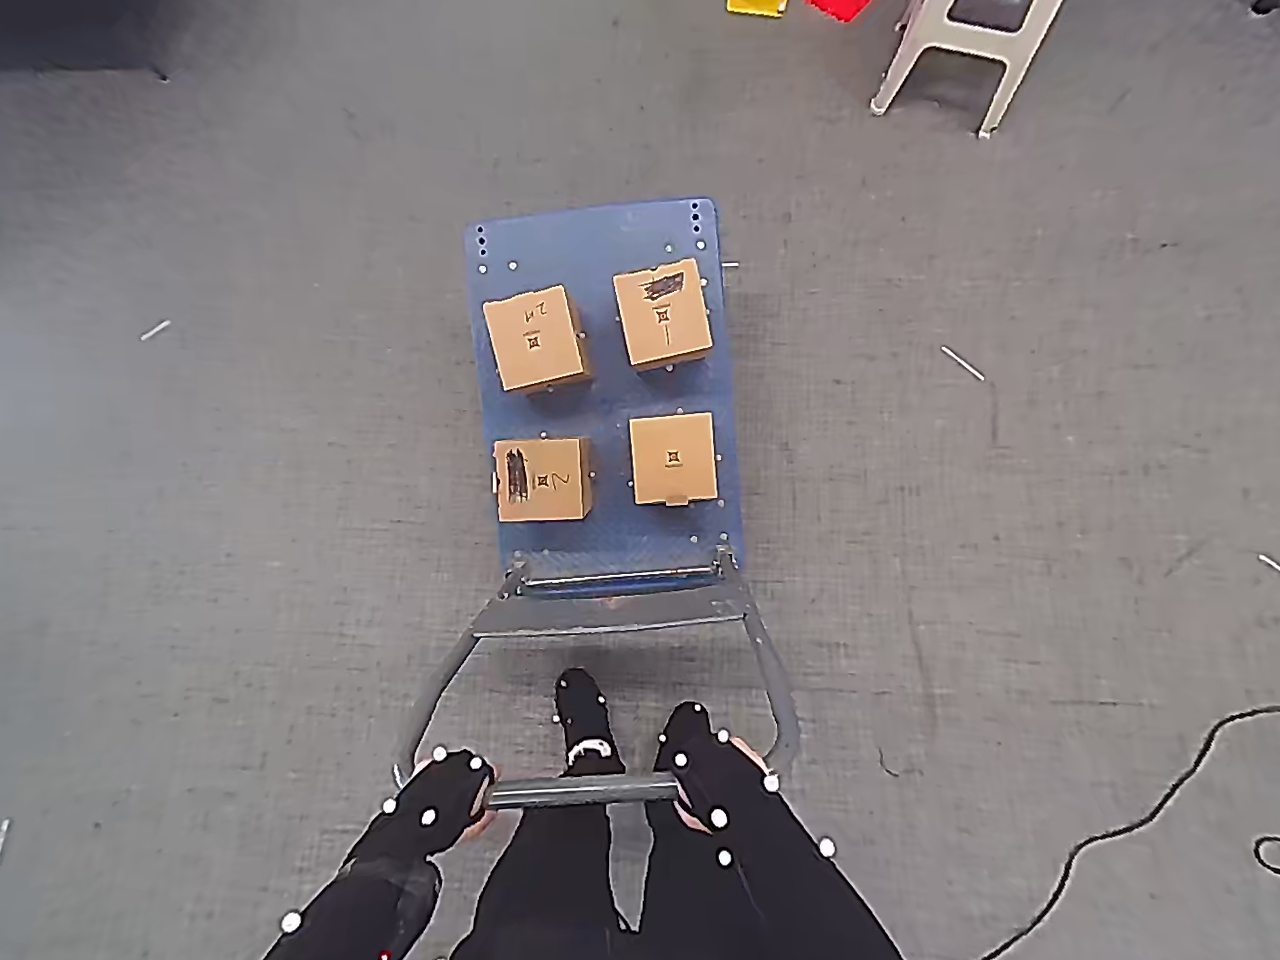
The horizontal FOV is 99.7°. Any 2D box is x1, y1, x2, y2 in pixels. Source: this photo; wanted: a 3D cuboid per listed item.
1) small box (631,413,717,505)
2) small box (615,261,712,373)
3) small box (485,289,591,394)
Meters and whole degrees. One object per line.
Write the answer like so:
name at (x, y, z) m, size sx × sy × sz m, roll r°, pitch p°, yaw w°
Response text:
small box at (0.070, -0.048, 1.164) m, size 0.168 × 0.176 × 0.179 m, roll -5°, pitch 96°, yaw 3°
small box at (0.048, -0.331, 1.134) m, size 0.168 × 0.176 × 0.179 m, roll -12°, pitch 96°, yaw 4°
small box at (-0.207, -0.283, 1.148) m, size 0.168 × 0.176 × 0.179 m, roll -12°, pitch 95°, yaw 2°
